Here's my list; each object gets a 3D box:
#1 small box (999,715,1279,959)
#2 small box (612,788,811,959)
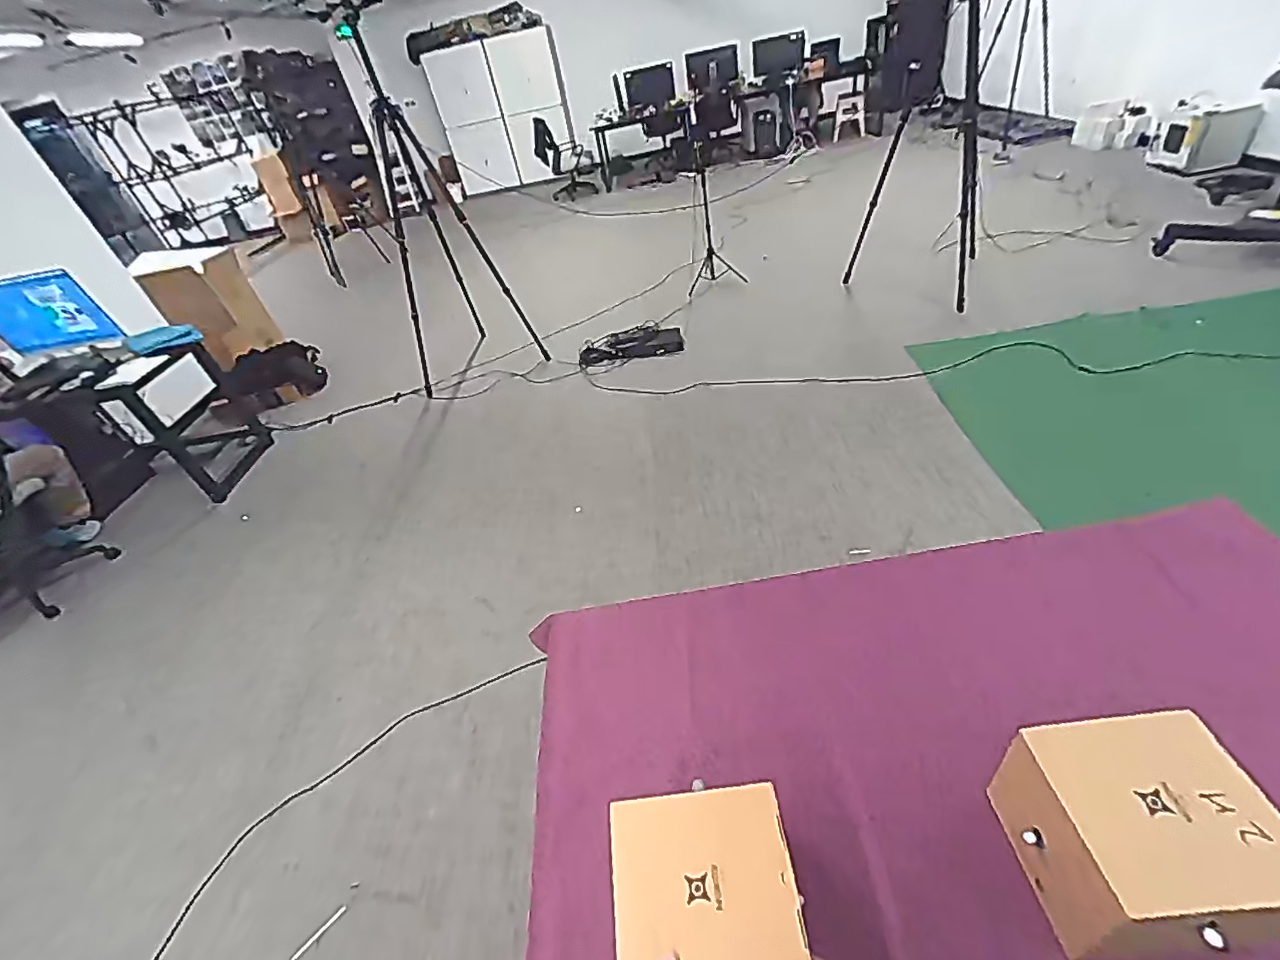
[{"bbox_3d":[0.508,0.372,0.563,0.179,0.176,0.168,-9,39,5],"label":"small box"},{"bbox_3d":[0.074,0.446,0.576,0.179,0.176,0.168,-9,50,3],"label":"small box"}]
